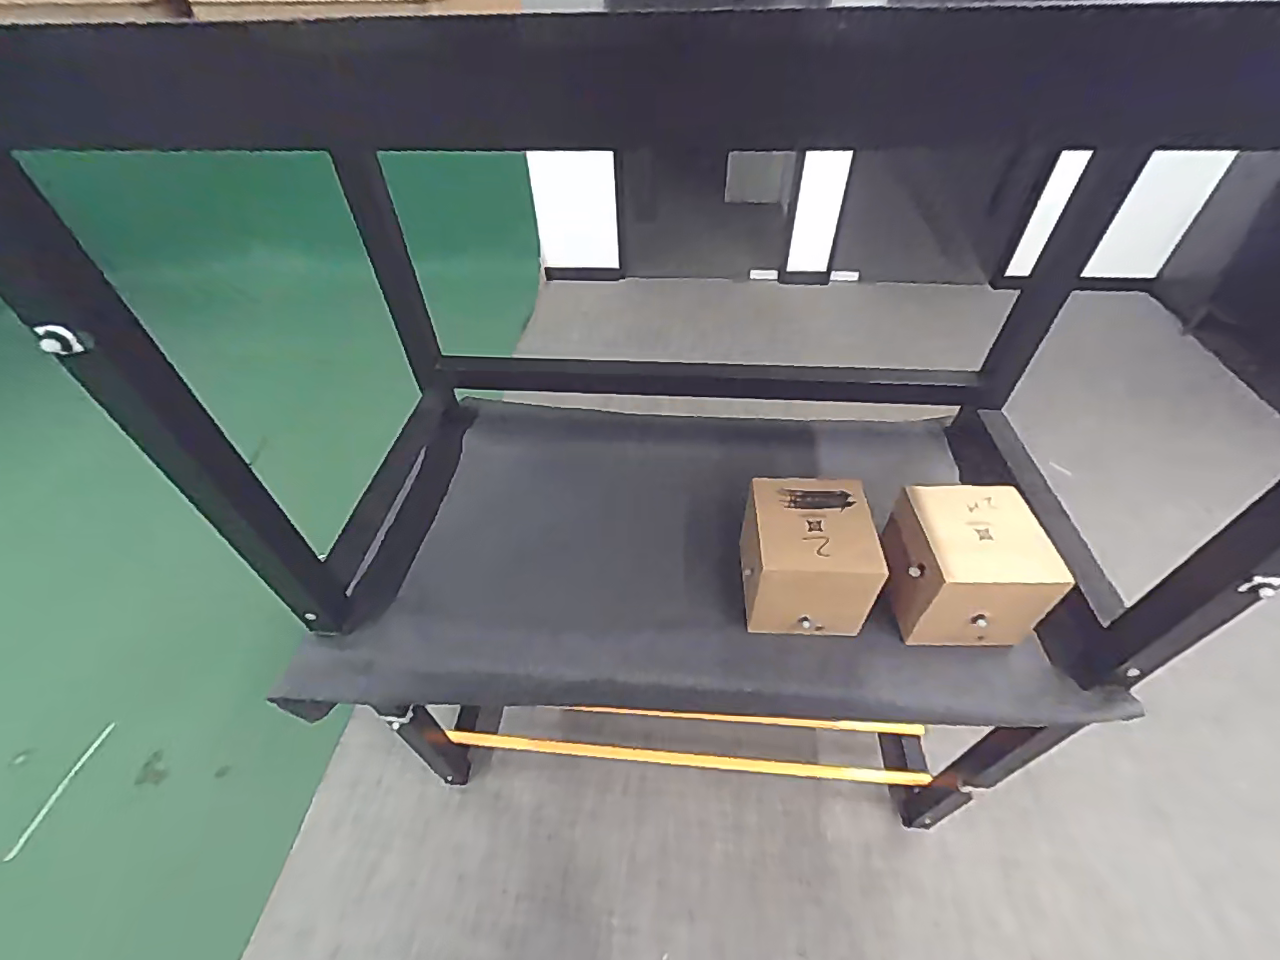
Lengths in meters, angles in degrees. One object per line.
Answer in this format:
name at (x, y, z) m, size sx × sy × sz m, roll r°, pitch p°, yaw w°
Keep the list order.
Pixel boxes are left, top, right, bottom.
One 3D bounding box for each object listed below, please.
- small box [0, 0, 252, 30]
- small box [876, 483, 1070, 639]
small box at (-0.383, -0.414, 0.349) m, size 0.168 × 0.176 × 0.179 m, roll 2°, pitch 47°, yaw 3°
small box at (0.479, 0.124, 0.812) m, size 0.168 × 0.176 × 0.179 m, roll 0°, pitch 45°, yaw 2°
